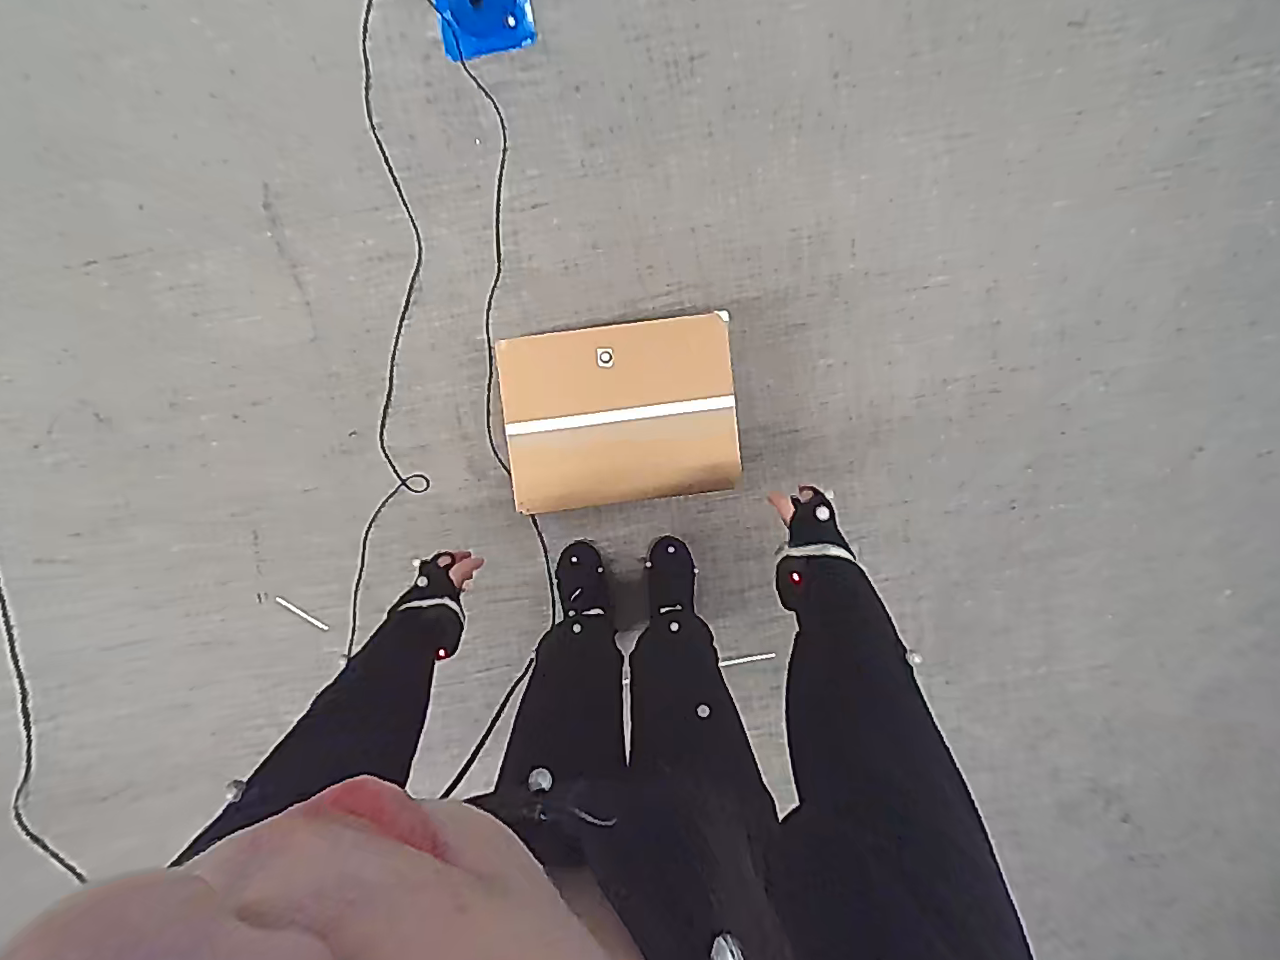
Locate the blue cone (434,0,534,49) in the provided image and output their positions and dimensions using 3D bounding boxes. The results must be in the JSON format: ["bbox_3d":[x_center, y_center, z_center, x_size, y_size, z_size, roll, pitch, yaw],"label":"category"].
[{"bbox_3d":[-0.323,-0.988,0.952,0.193,0.380,0.192,-13,97,0],"label":"blue cone"}]
